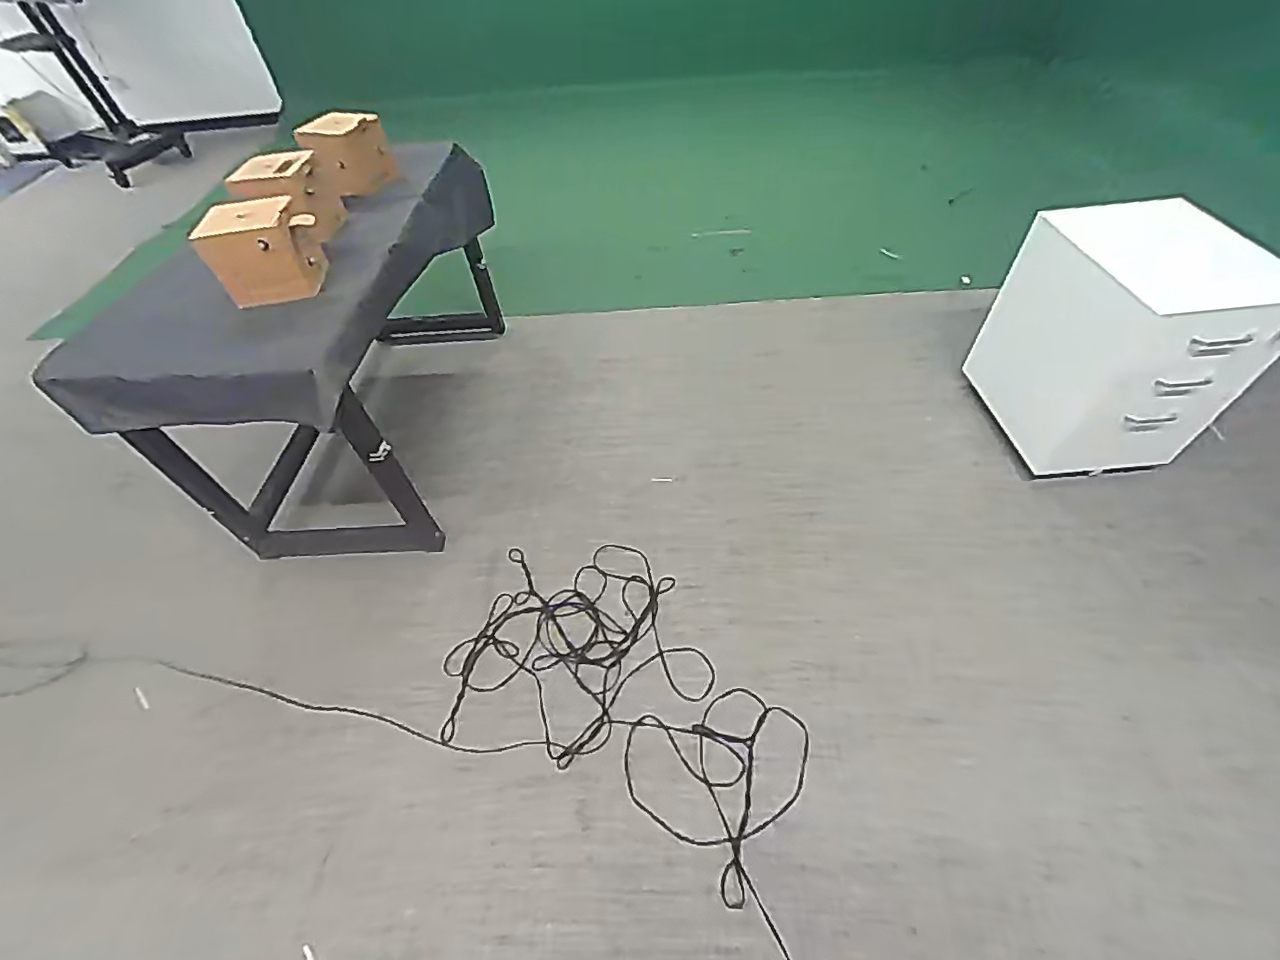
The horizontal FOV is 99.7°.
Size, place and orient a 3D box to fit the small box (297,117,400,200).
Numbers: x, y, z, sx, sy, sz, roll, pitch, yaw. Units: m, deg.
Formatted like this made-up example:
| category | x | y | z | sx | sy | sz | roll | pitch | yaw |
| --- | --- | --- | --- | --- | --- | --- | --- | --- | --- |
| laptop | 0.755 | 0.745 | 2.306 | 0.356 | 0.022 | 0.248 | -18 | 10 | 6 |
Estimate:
| category | x | y | z | sx | sy | sz | roll | pitch | yaw |
| --- | --- | --- | --- | --- | --- | --- | --- | --- | --- |
| small box | -0.853 | -0.953 | 1.606 | 0.179 | 0.176 | 0.168 | 12 | 51 | 16 |

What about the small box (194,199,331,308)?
| category | x | y | z | sx | sy | sz | roll | pitch | yaw |
| --- | --- | --- | --- | --- | --- | --- | --- | --- | --- |
| small box | -0.845 | -0.511 | 1.231 | 0.179 | 0.176 | 0.168 | -11 | 49 | -4 |
